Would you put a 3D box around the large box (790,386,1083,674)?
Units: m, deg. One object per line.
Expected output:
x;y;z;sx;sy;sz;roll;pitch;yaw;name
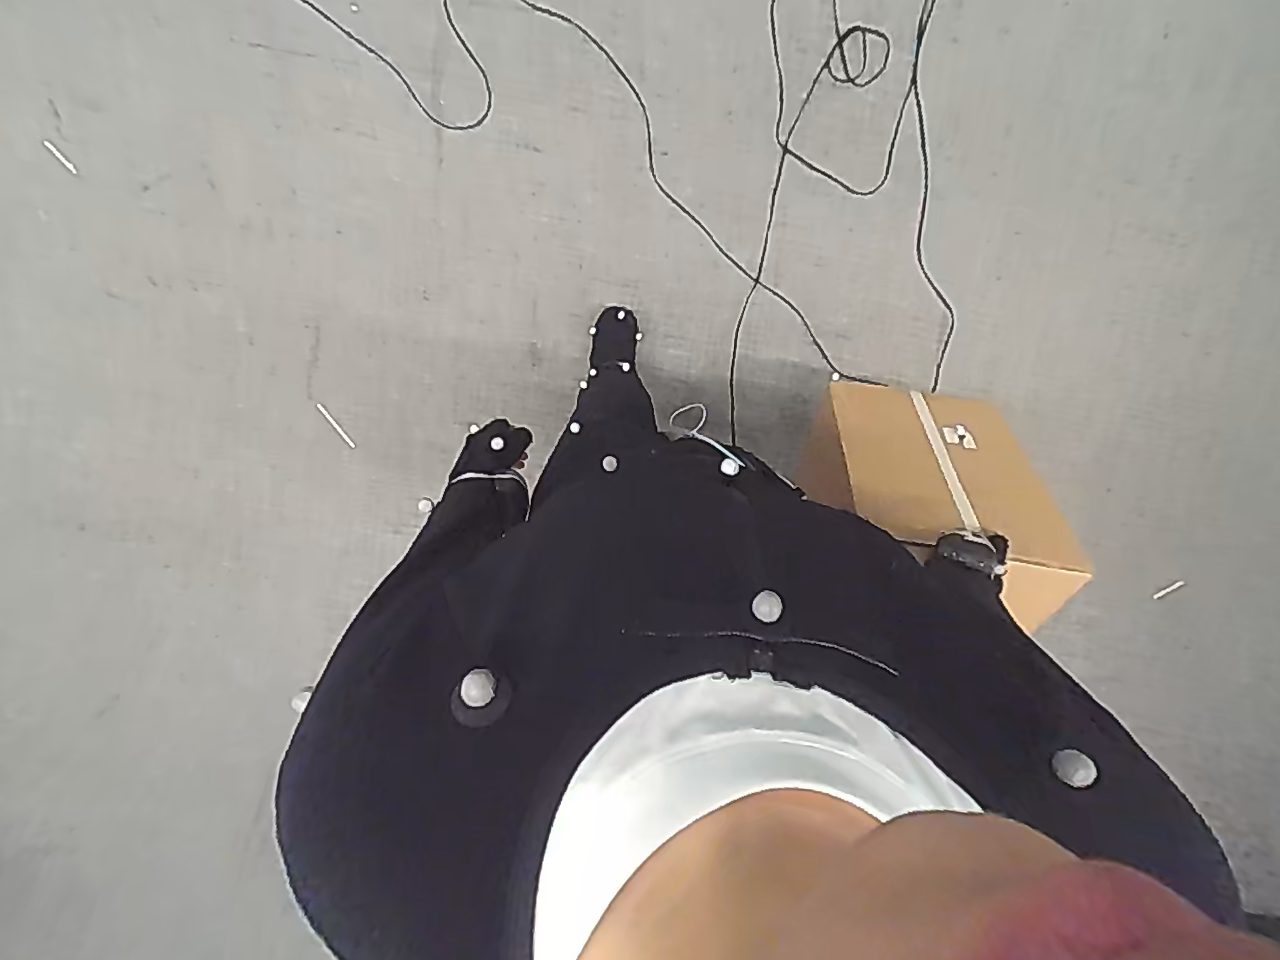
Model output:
0.471;0.081;0.983;0.320;0.408;0.320;9;132;3;large box
